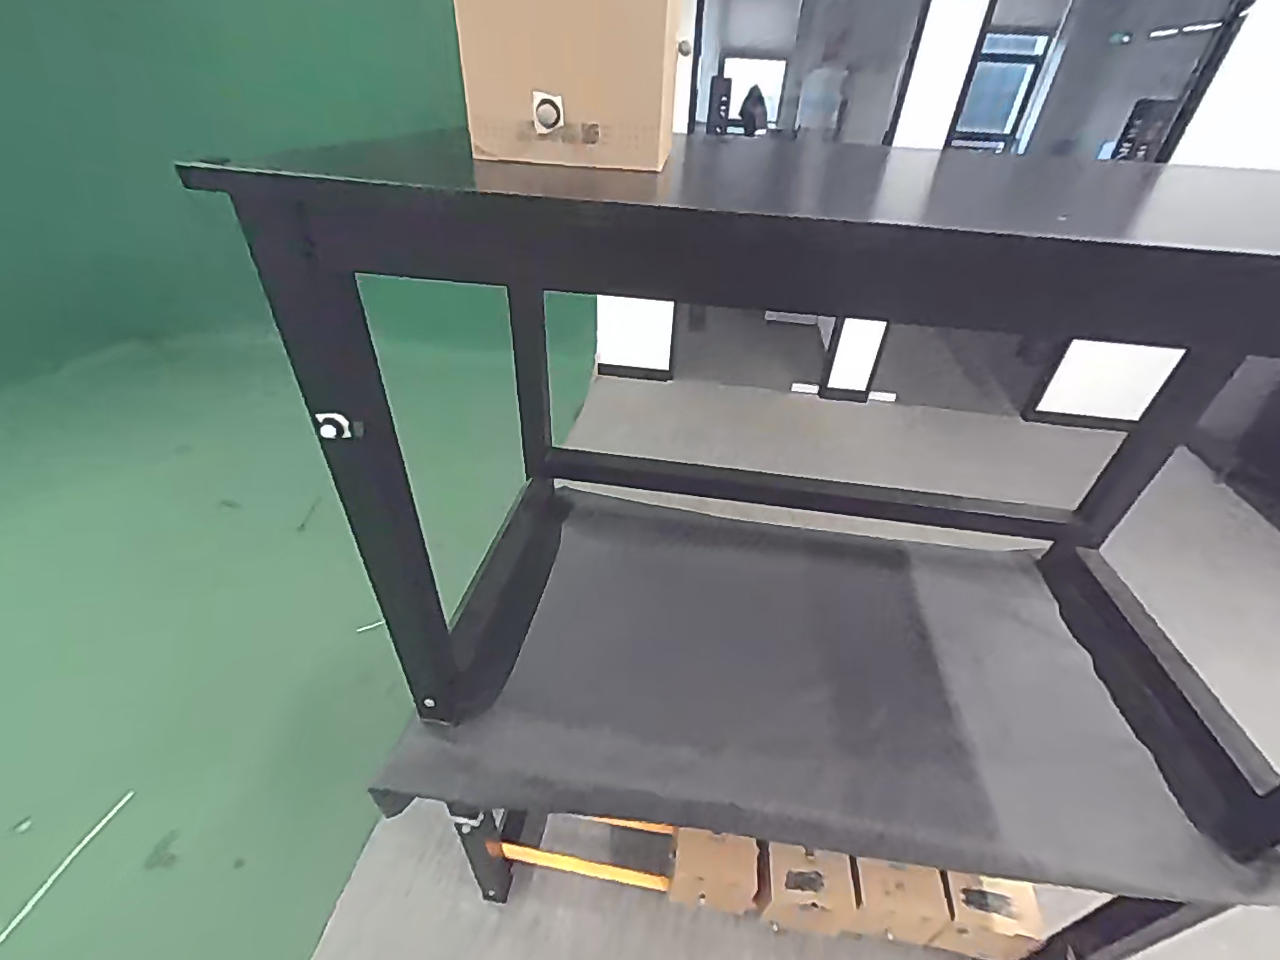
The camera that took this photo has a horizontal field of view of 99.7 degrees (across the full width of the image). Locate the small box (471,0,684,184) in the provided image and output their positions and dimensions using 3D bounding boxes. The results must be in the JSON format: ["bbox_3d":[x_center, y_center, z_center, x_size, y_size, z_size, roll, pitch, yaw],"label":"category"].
[{"bbox_3d":[-0.049,-0.384,0.498,0.168,0.176,0.179,4,37,3],"label":"small box"}]
